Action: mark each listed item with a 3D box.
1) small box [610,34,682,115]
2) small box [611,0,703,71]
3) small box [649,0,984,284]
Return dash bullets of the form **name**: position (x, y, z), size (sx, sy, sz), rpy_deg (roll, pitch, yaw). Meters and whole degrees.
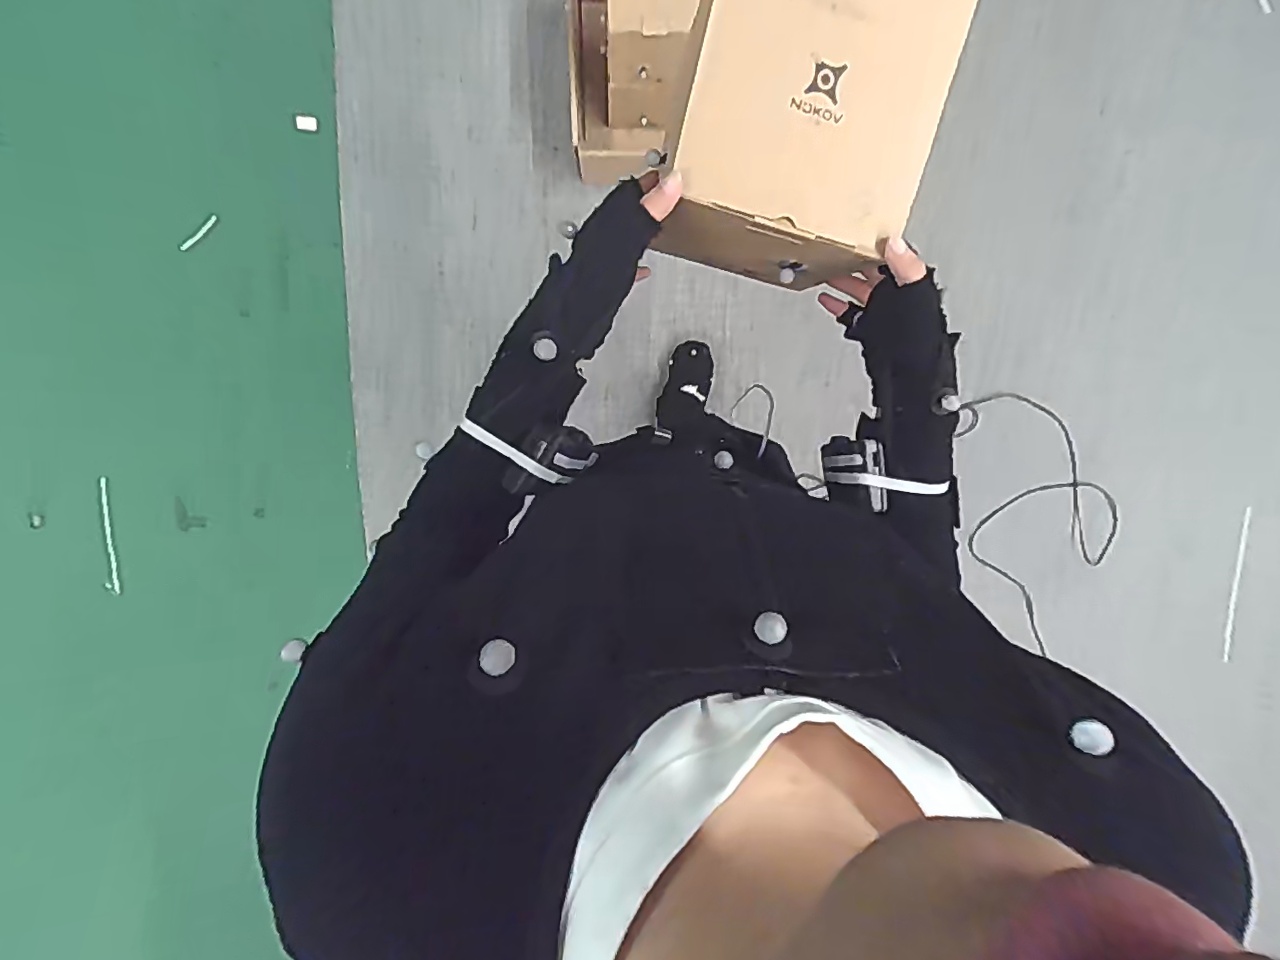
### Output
- **small box**: position (0.019, -0.936, 1.175), size (0.168, 0.176, 0.179), rpy_deg (0, 98, -3)
- **small box**: position (0.030, -0.915, 1.014), size (0.168, 0.176, 0.179), rpy_deg (-2, 98, -4)
- **small box**: position (0.109, -0.265, 0.416), size (0.168, 0.176, 0.179), rpy_deg (13, 100, -9)
